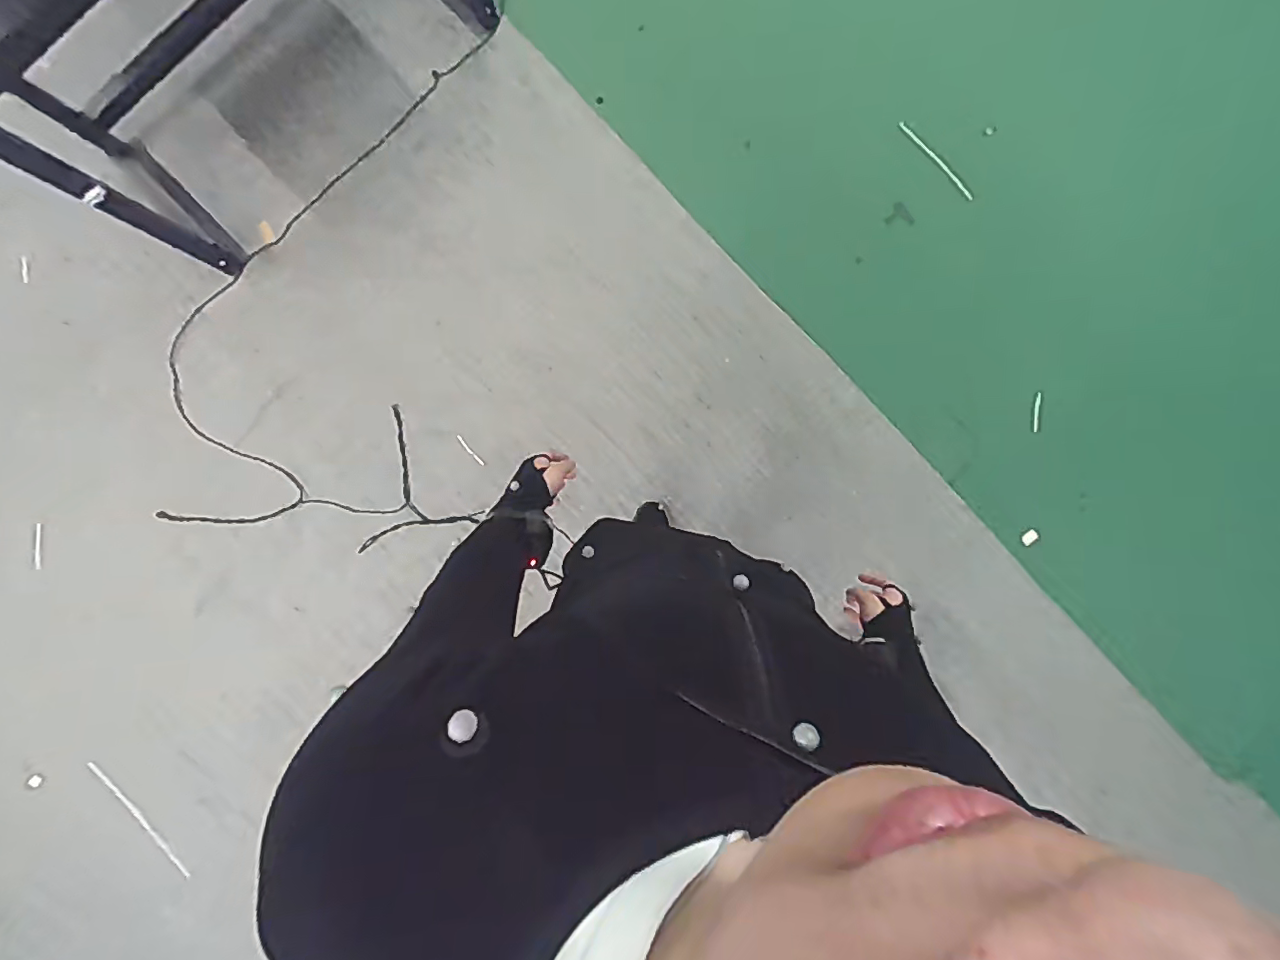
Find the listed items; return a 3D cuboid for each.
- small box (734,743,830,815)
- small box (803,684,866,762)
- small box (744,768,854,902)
[{"bbox_3d":[0.379,0.858,1.484,0.168,0.176,0.179,-41,88,-1],"label":"small box"},{"bbox_3d":[0.576,0.687,1.481,0.168,0.176,0.179,-42,87,1],"label":"small box"},{"bbox_3d":[0.379,0.854,1.321,0.168,0.176,0.179,-39,87,-2],"label":"small box"}]
